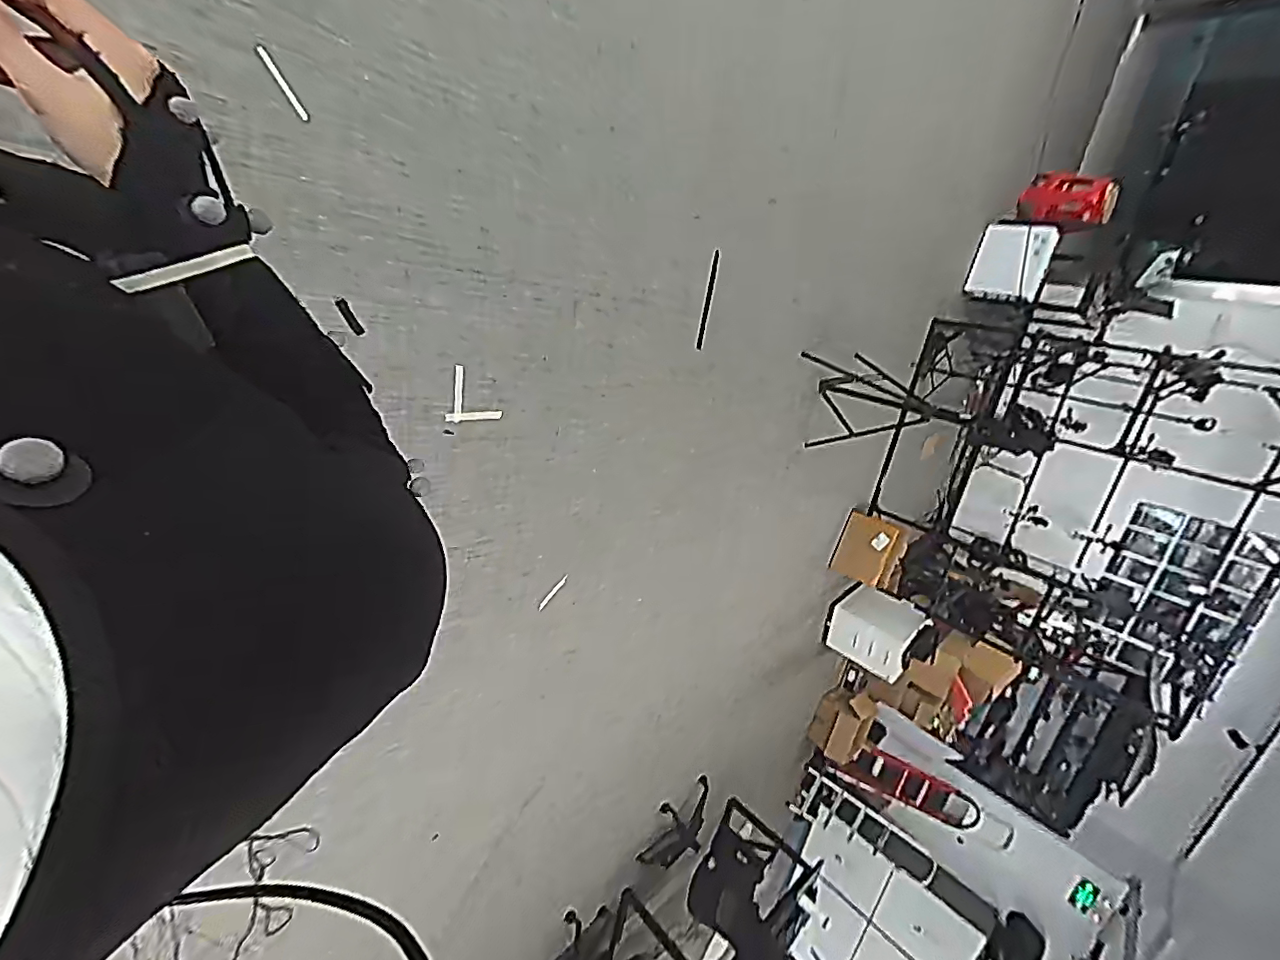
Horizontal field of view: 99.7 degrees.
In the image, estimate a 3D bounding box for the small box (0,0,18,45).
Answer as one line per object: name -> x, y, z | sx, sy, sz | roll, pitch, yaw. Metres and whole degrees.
small box -> -0.422, -0.321, 0.233 | 0.168, 0.176, 0.179 | -15, 127, -38
